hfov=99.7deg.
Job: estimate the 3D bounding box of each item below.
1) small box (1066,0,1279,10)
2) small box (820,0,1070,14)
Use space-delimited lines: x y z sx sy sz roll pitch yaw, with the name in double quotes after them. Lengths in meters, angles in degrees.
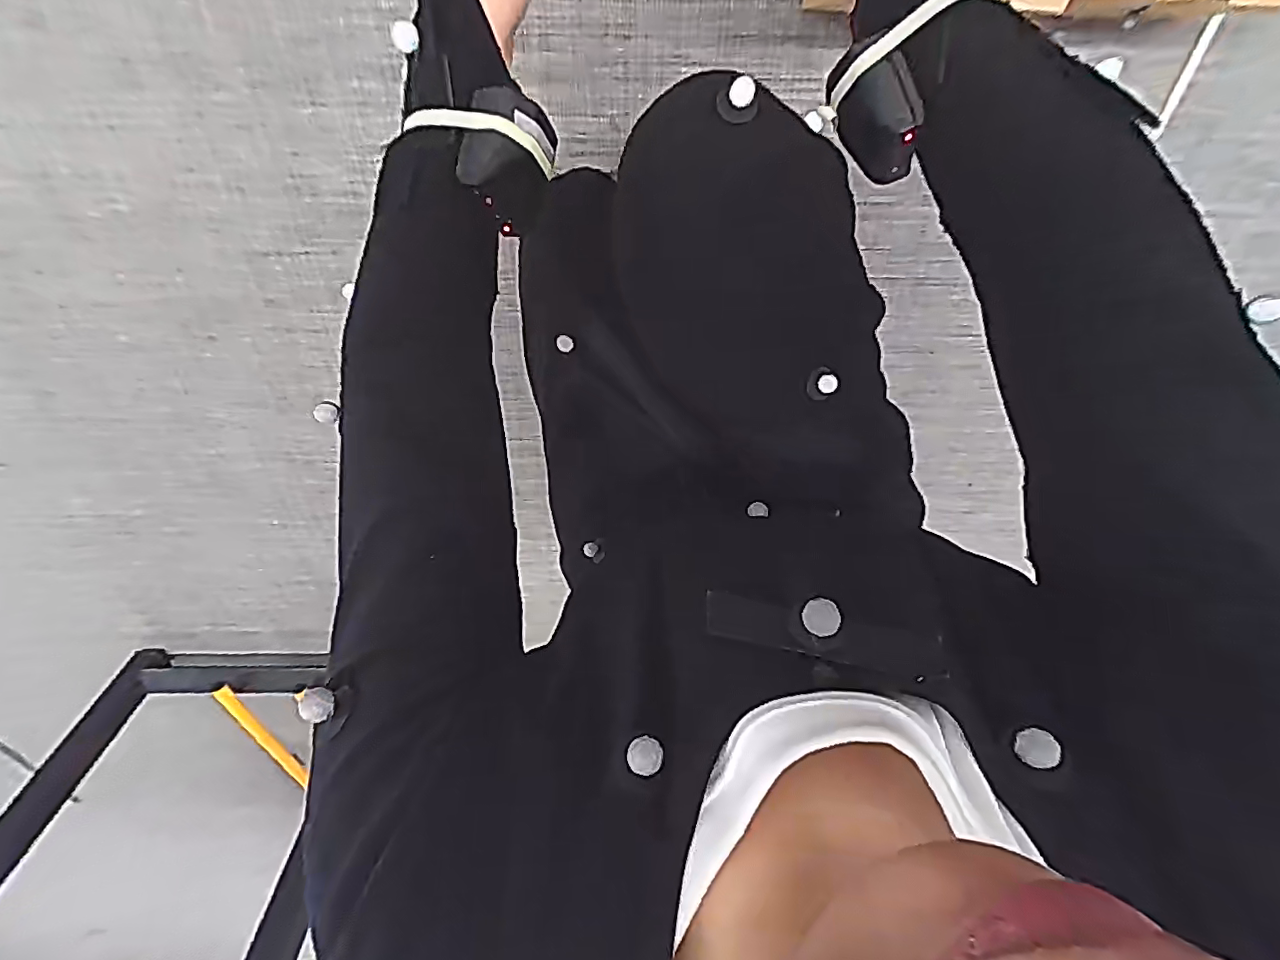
0.475 -0.487 0.418 0.168 0.176 0.179 0 129 -2 "small box"
0.248 -0.480 0.413 0.168 0.176 0.179 2 129 -3 "small box"
